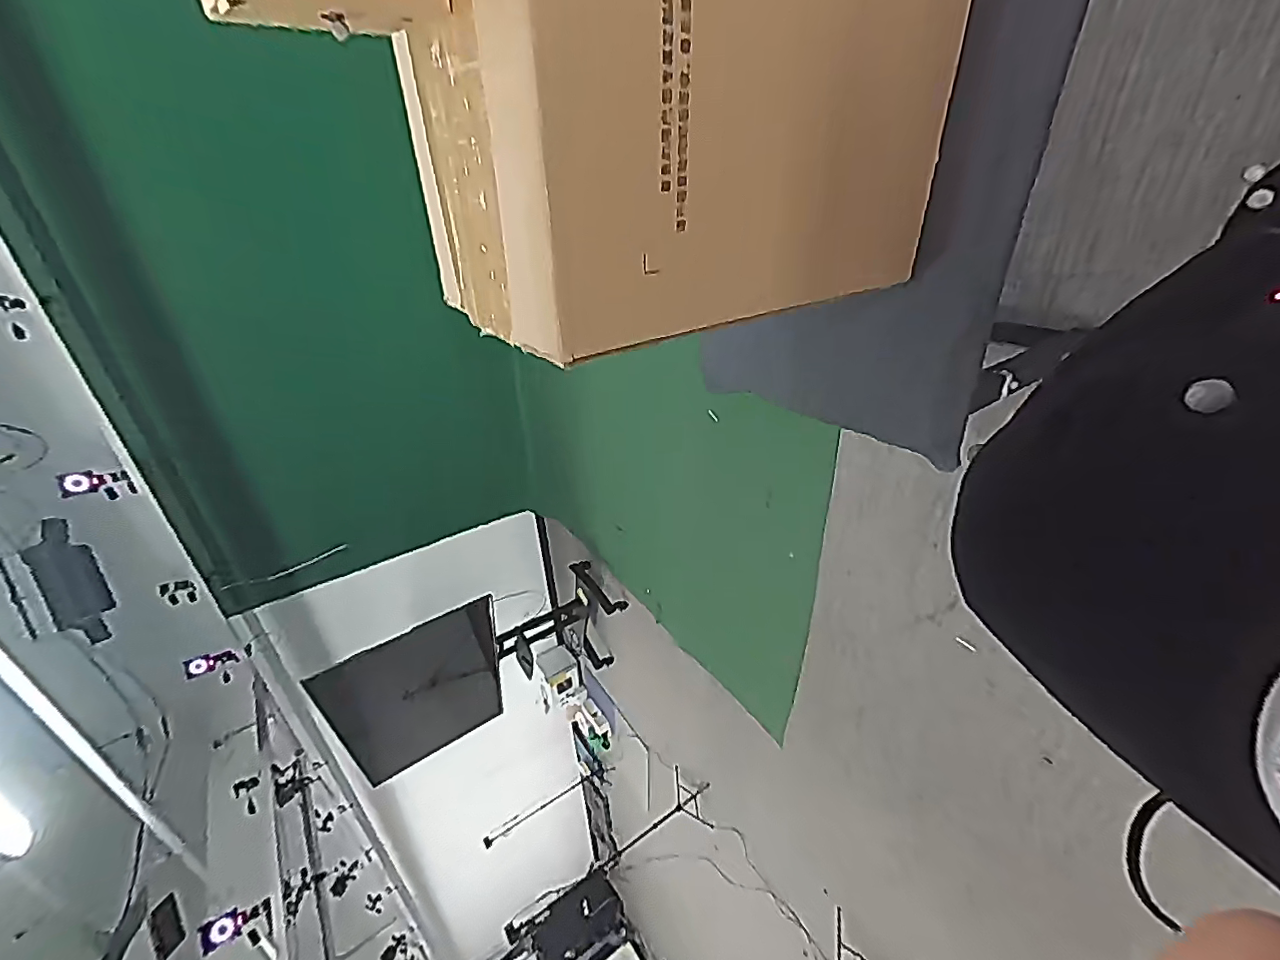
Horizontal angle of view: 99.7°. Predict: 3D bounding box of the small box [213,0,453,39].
[{"bbox_3d":[-0.275,-0.488,0.450,0.168,0.176,0.179,31,134,40],"label":"small box"}]
